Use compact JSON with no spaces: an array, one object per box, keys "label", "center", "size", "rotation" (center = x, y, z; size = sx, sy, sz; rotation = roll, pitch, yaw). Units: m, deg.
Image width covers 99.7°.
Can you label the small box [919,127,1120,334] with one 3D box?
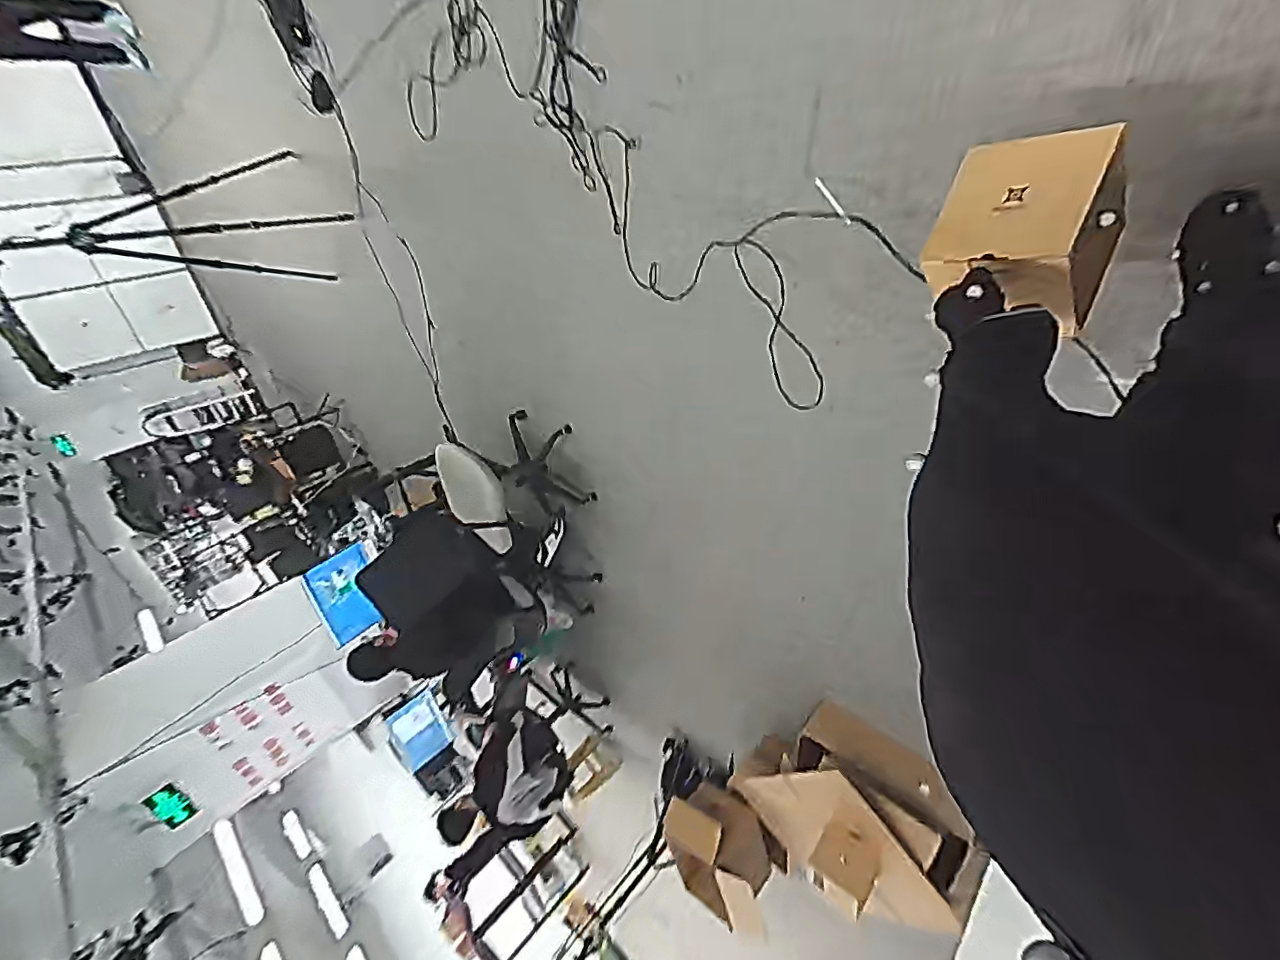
[{"label":"small box","center":[0.509,-0.320,0.725],"size":[0.168,0.176,0.179],"rotation":[21,87,46]}]
